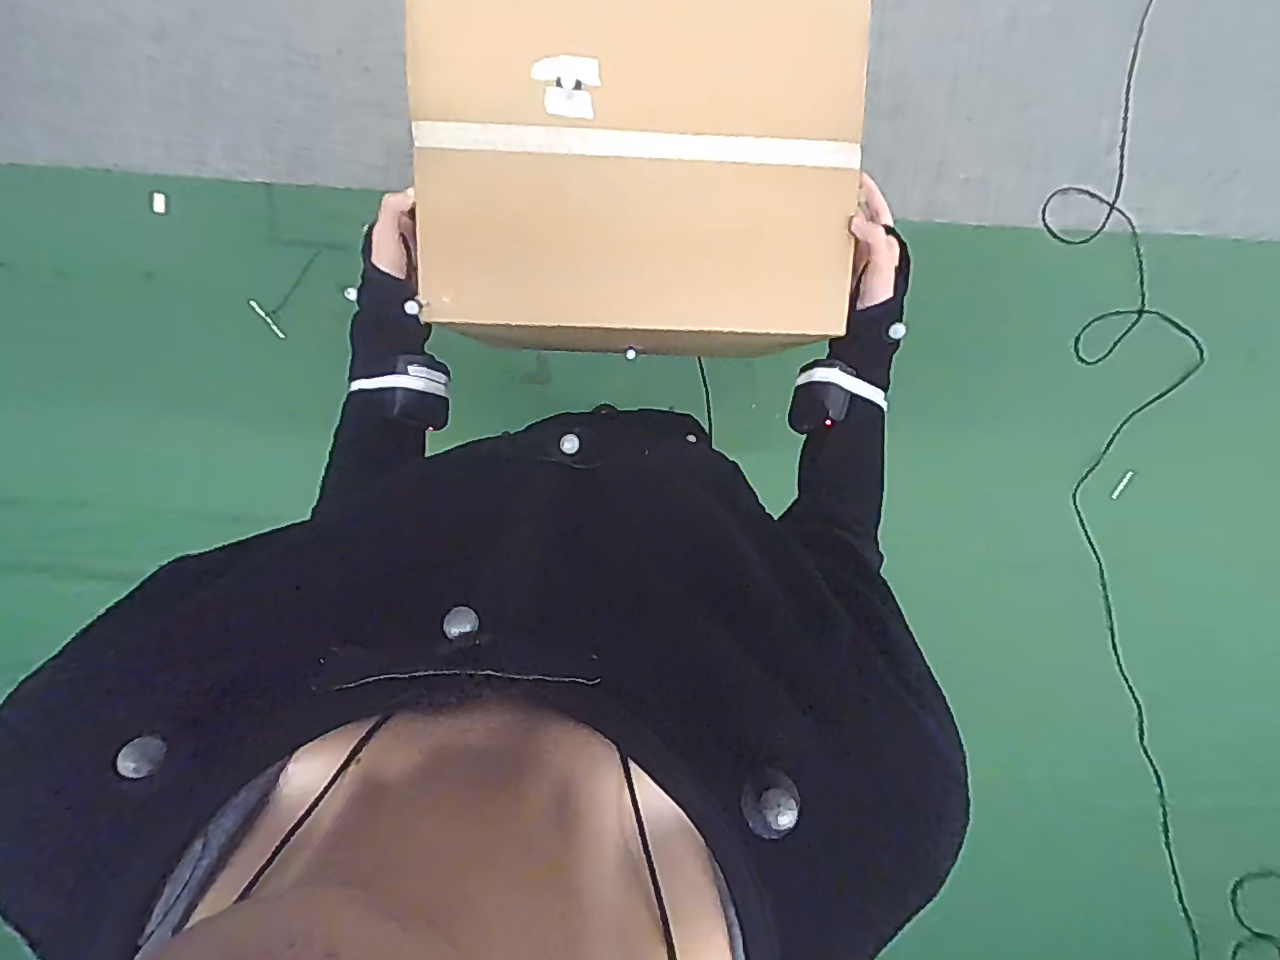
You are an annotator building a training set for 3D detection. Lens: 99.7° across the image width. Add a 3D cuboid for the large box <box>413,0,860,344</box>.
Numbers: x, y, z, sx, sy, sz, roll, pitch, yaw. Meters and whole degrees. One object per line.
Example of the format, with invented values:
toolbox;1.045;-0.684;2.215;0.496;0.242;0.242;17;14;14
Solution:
large box;-0.007;-0.329;0.645;0.408;0.320;0.320;1;99;-3
